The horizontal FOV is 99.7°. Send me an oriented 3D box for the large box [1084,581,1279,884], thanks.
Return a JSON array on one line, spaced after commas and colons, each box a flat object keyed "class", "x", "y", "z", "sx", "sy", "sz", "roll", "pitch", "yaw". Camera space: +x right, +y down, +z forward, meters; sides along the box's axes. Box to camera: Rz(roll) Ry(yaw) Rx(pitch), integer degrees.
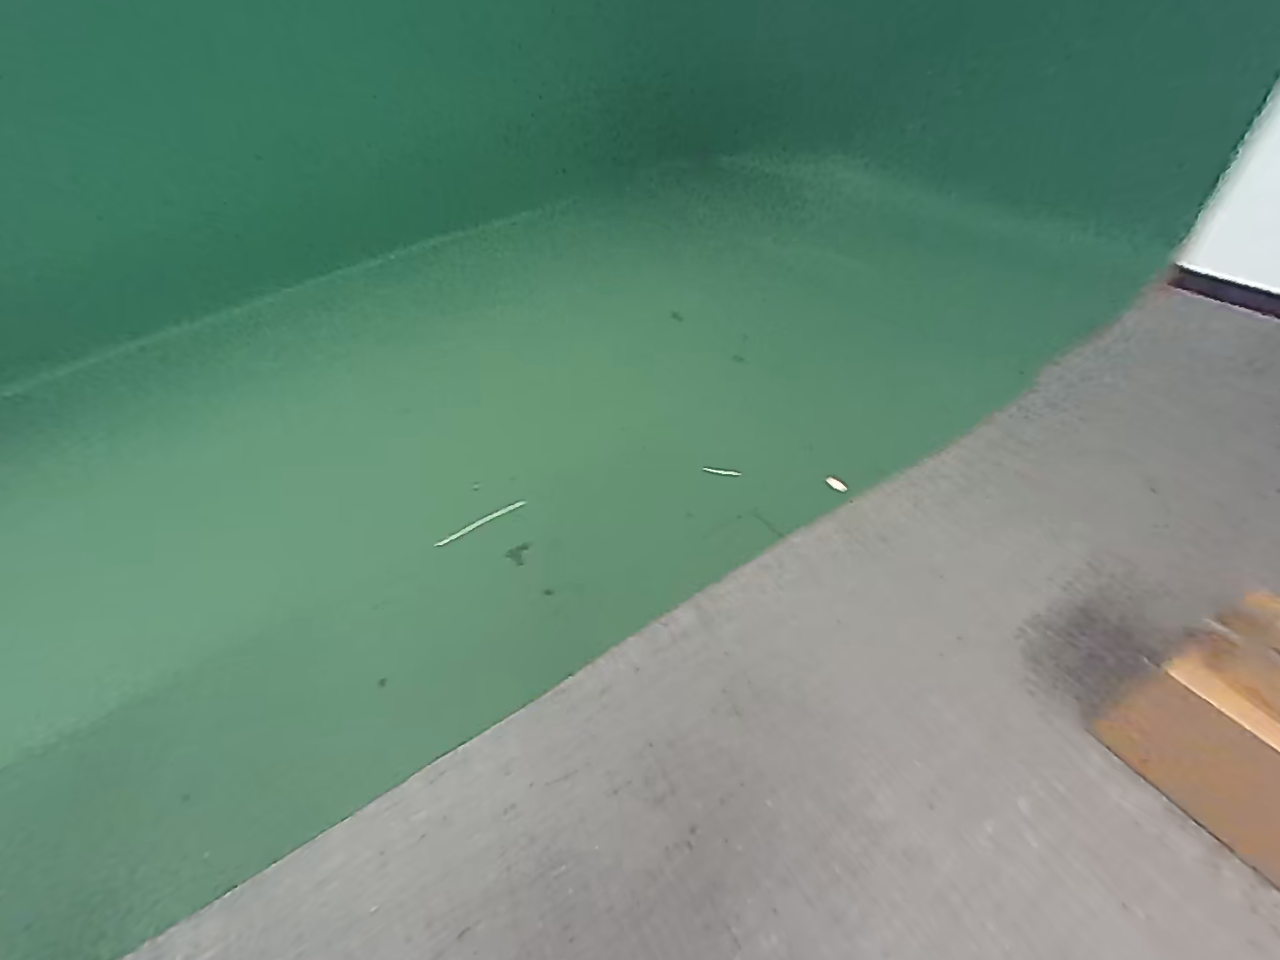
[{"class": "large box", "x": 1.177, "y": 0.475, "z": 0.998, "sx": 0.320, "sy": 0.320, "sz": 0.408, "roll": -30, "pitch": 51, "yaw": -16}]
